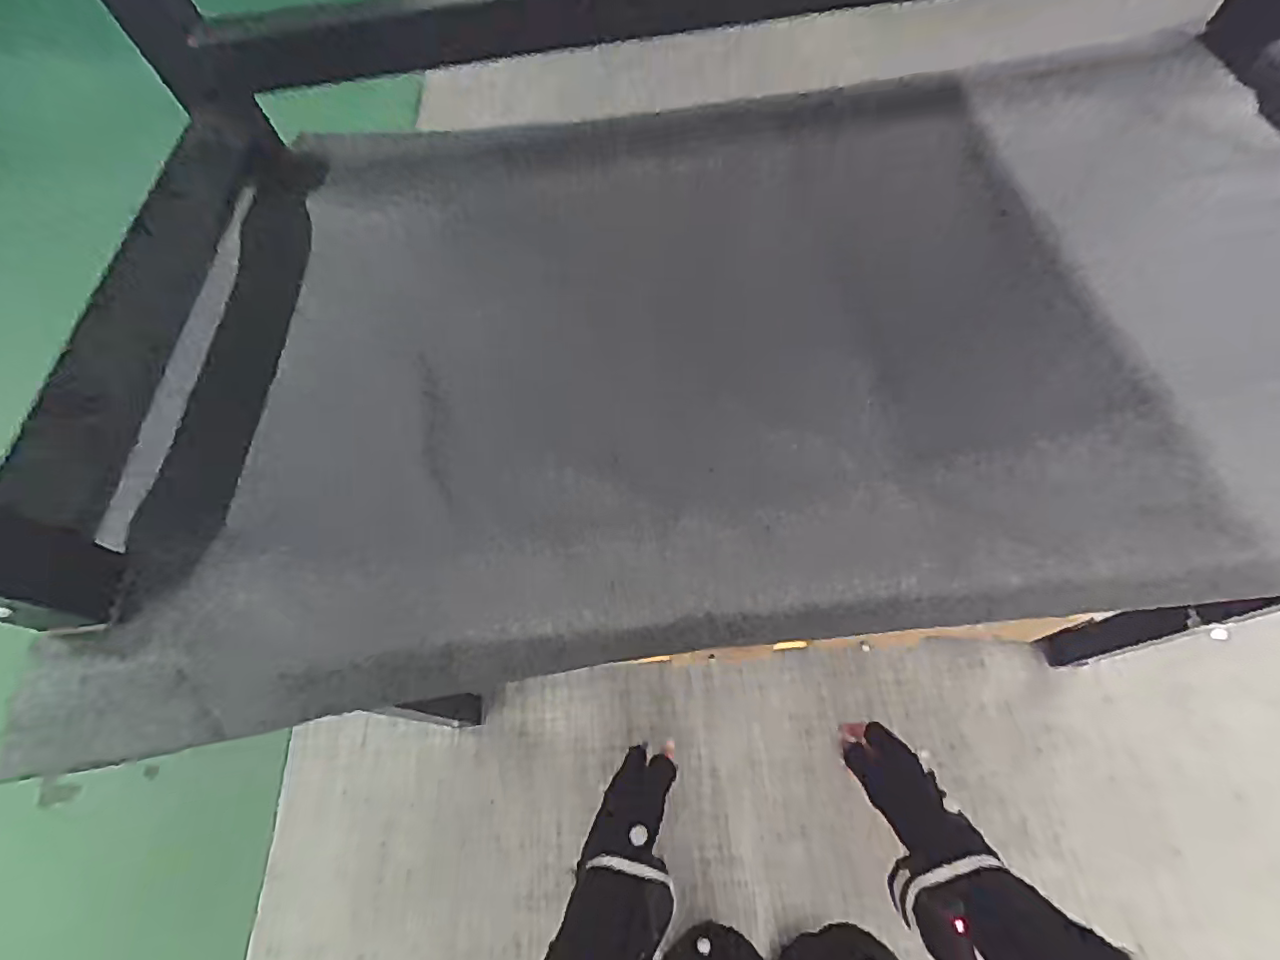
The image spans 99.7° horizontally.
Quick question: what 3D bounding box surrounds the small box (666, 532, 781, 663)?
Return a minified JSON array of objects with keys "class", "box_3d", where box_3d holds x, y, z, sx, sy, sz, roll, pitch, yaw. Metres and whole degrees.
[{"class":"small box","box_3d":[0.130,0.202,0.911,0.168,0.176,0.179,-5,64,3]}]
